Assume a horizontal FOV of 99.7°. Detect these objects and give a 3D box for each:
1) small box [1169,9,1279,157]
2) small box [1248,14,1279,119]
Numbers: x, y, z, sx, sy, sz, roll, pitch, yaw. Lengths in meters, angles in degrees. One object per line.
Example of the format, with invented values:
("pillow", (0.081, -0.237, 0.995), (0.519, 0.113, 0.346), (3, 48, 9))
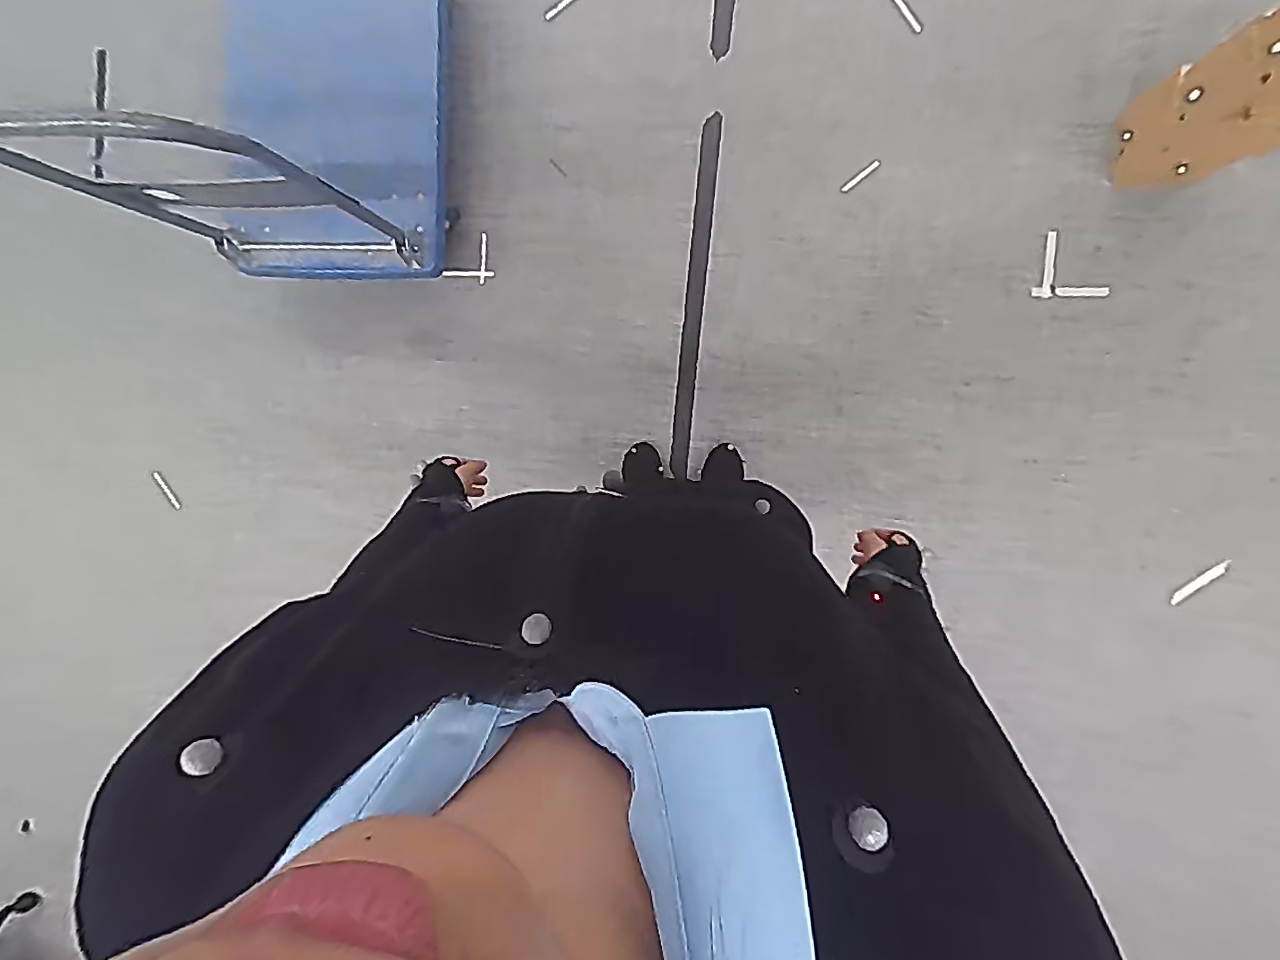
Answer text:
("small box", (1.196, -0.751, 1.040), (0.179, 0.176, 0.168), (9, 95, 7))
("small box", (1.174, -0.726, 0.880), (0.179, 0.176, 0.168), (-3, 94, 8))
